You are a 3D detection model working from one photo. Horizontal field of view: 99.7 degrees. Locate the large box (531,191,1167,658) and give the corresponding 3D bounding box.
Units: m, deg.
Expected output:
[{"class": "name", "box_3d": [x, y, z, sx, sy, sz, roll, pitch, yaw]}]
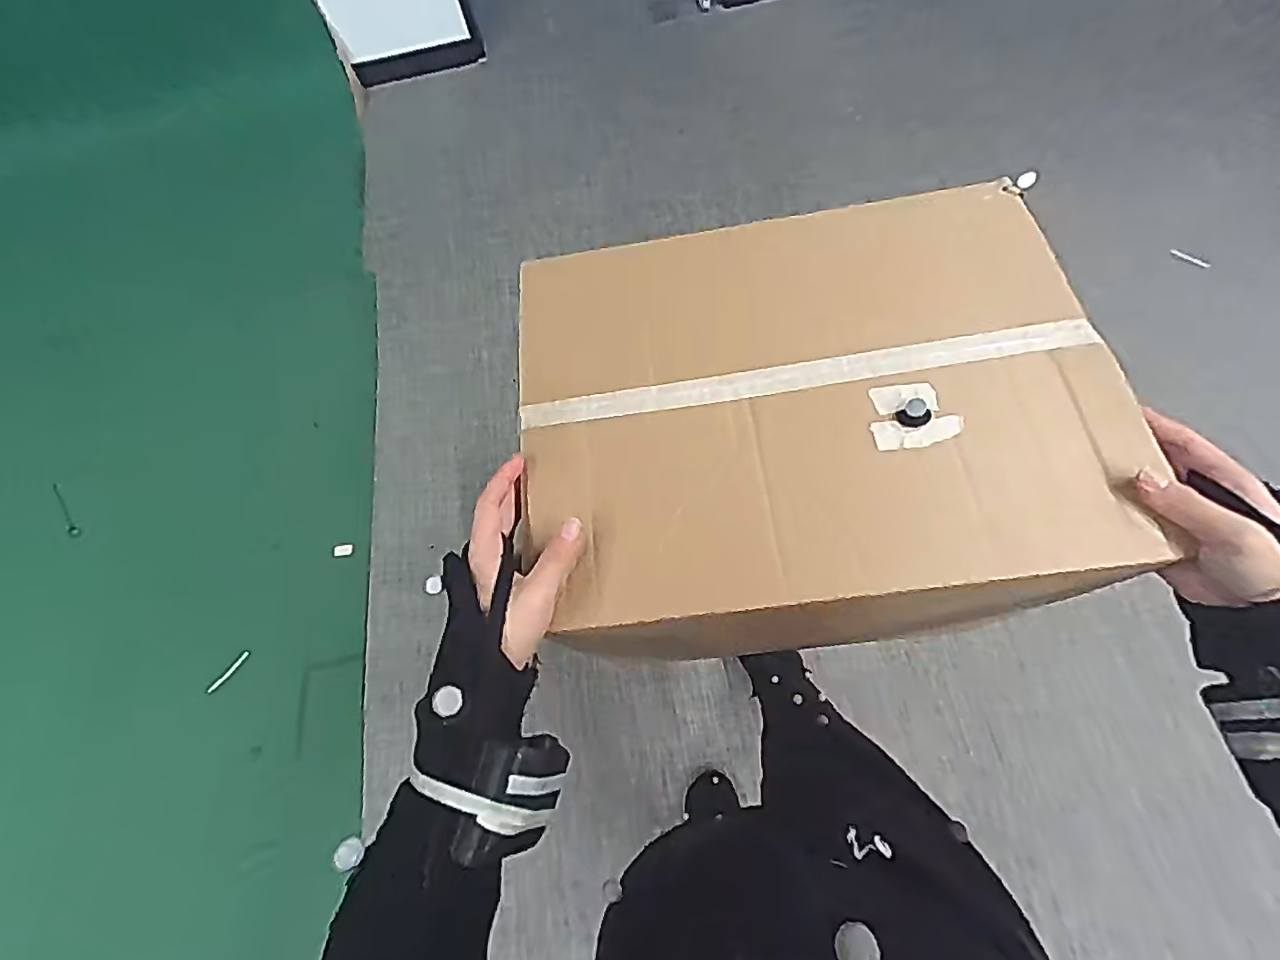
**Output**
[{"class": "large box", "box_3d": [0.130, -0.018, 0.539, 0.408, 0.320, 0.320, -8, 67, 3]}]
